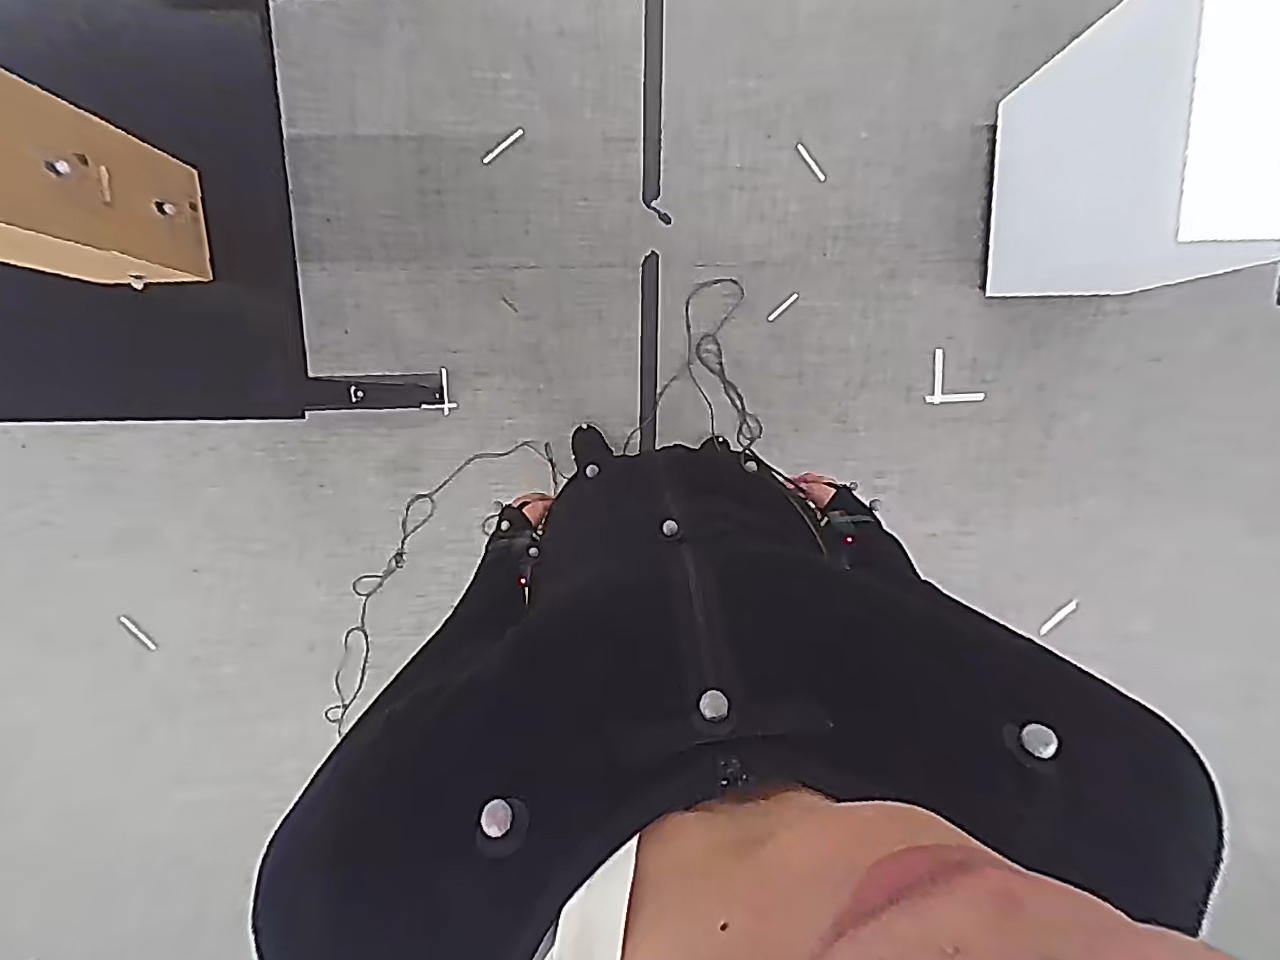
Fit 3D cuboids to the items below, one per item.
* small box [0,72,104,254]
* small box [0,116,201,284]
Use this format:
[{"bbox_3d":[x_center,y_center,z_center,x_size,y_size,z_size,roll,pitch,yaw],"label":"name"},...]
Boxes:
[{"bbox_3d":[-0.759,-0.353,0.589,0.179,0.176,0.168,-2,99,0],"label":"small box"},{"bbox_3d":[-0.758,-0.376,0.753,0.179,0.176,0.168,-2,98,0],"label":"small box"}]
